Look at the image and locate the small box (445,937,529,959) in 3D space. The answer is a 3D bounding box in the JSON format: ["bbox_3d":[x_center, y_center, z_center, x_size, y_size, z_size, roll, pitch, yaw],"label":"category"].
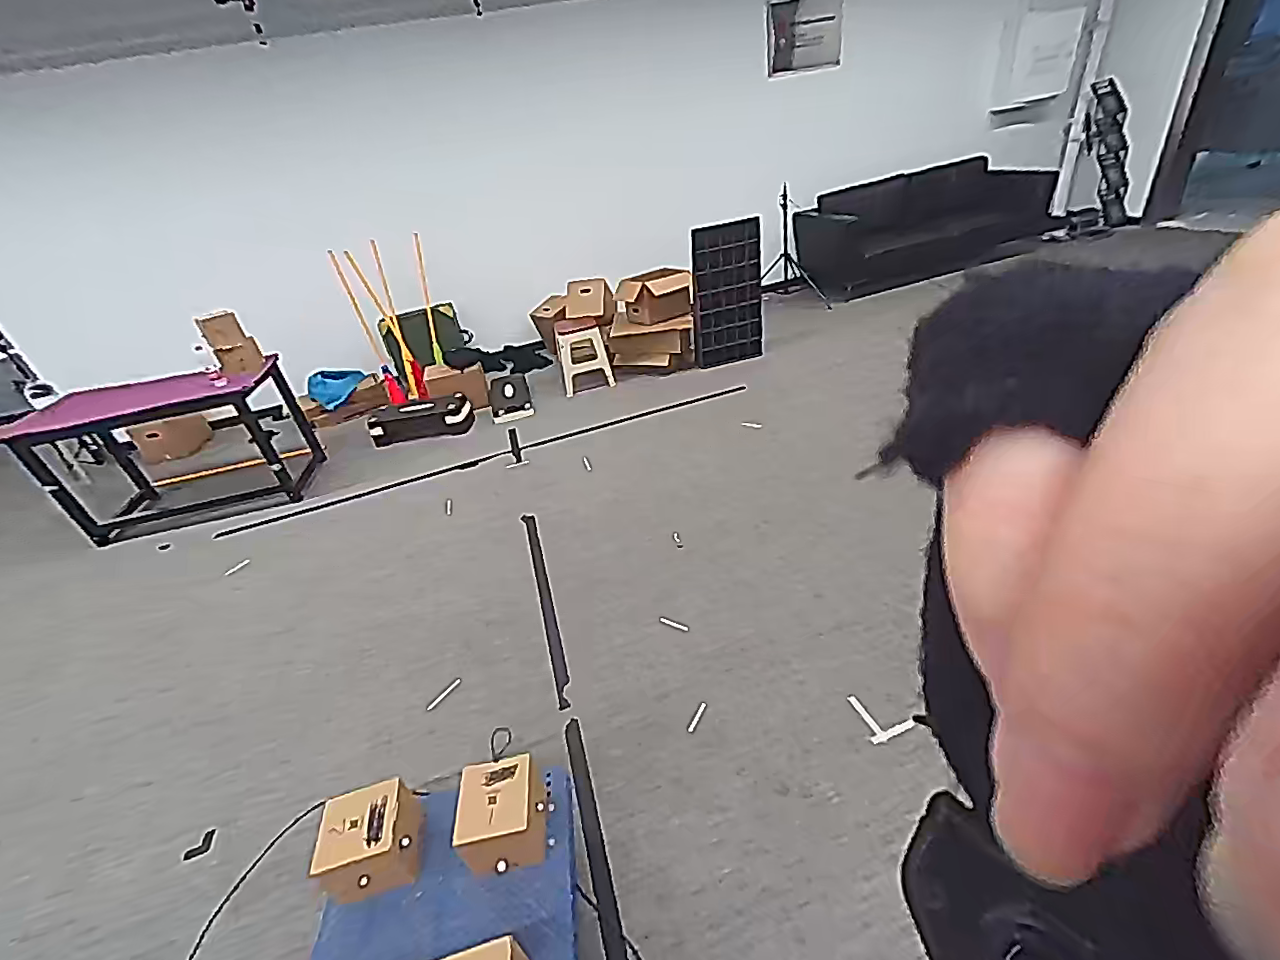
[{"bbox_3d":[-0.287,0.979,0.972,0.179,0.176,0.168,-15,33,-7],"label":"small box"}]

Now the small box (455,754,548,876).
[{"bbox_3d":[-0.317,0.789,1.275,0.168,0.176,0.179,-12,34,-2],"label":"small box"}]
